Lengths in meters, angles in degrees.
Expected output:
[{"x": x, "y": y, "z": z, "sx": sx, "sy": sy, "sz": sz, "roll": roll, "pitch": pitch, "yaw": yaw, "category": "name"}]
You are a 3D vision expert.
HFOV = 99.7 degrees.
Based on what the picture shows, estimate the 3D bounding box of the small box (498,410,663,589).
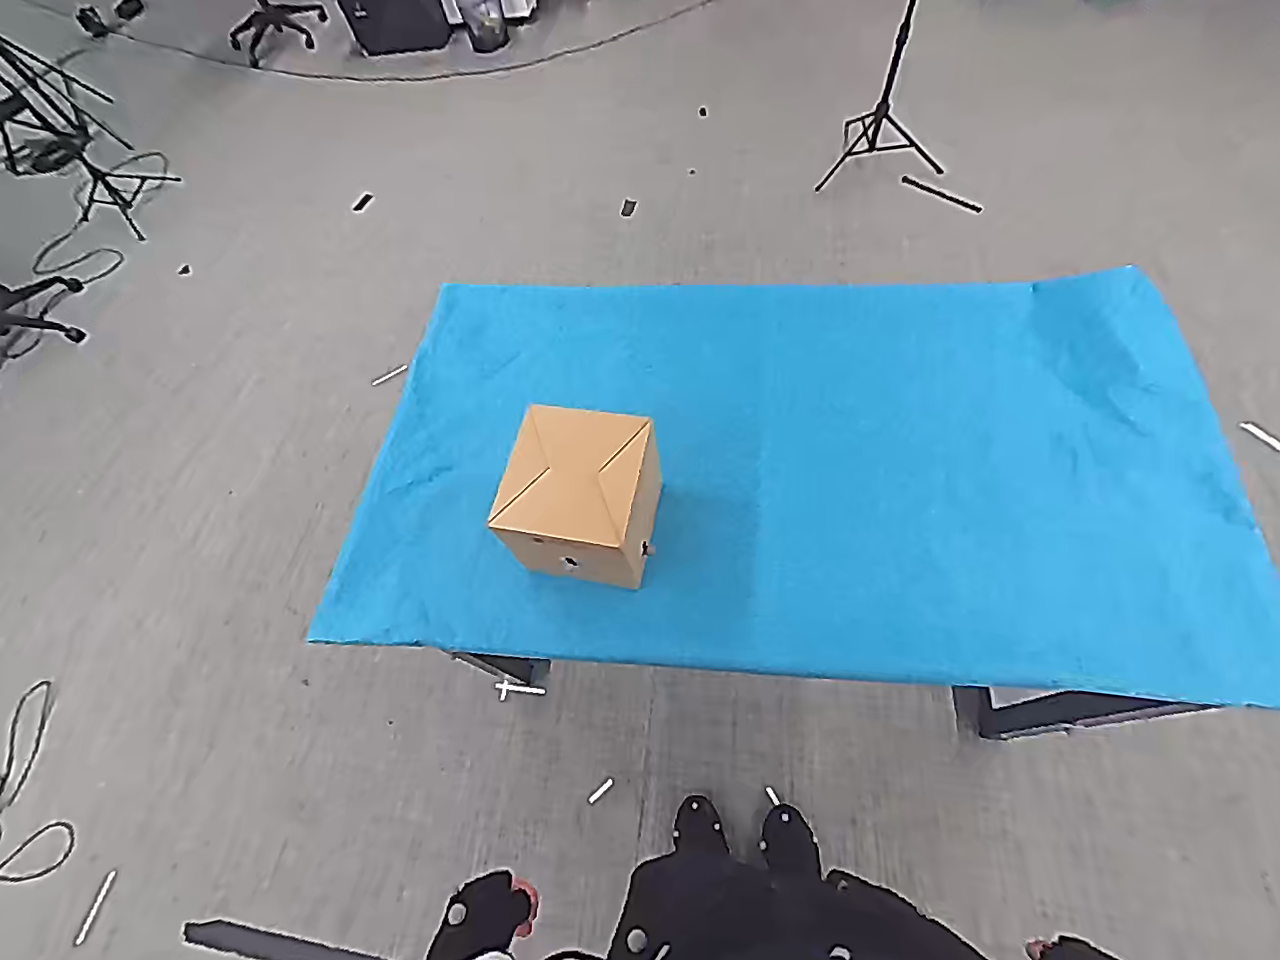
[{"x": -0.069, "y": 0.028, "z": 0.725, "sx": 0.168, "sy": 0.176, "sz": 0.179, "roll": 7, "pitch": 63, "yaw": 11, "category": "small box"}]
